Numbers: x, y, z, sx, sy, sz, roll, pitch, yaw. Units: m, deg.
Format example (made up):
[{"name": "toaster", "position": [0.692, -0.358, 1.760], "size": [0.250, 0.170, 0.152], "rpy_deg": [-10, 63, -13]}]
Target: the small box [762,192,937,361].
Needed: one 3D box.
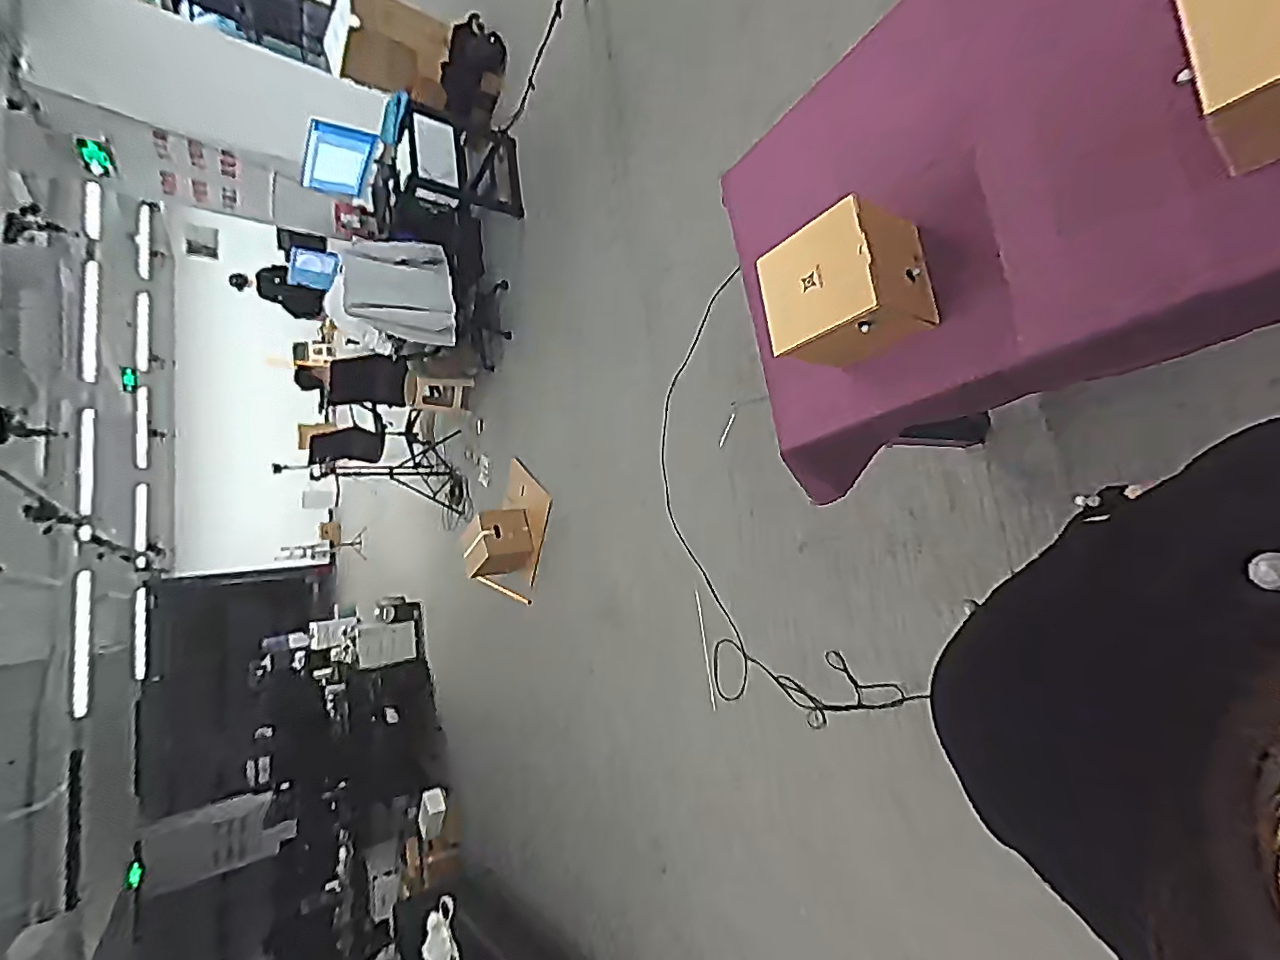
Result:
[{"name": "small box", "position": [0.319, -0.296, 0.834], "size": [0.179, 0.176, 0.168], "rpy_deg": [-20, 74, 52]}]

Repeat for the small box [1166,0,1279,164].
[{"name": "small box", "position": [0.590, -0.410, 0.456], "size": [0.179, 0.176, 0.168], "rpy_deg": [-14, 80, 53]}]
